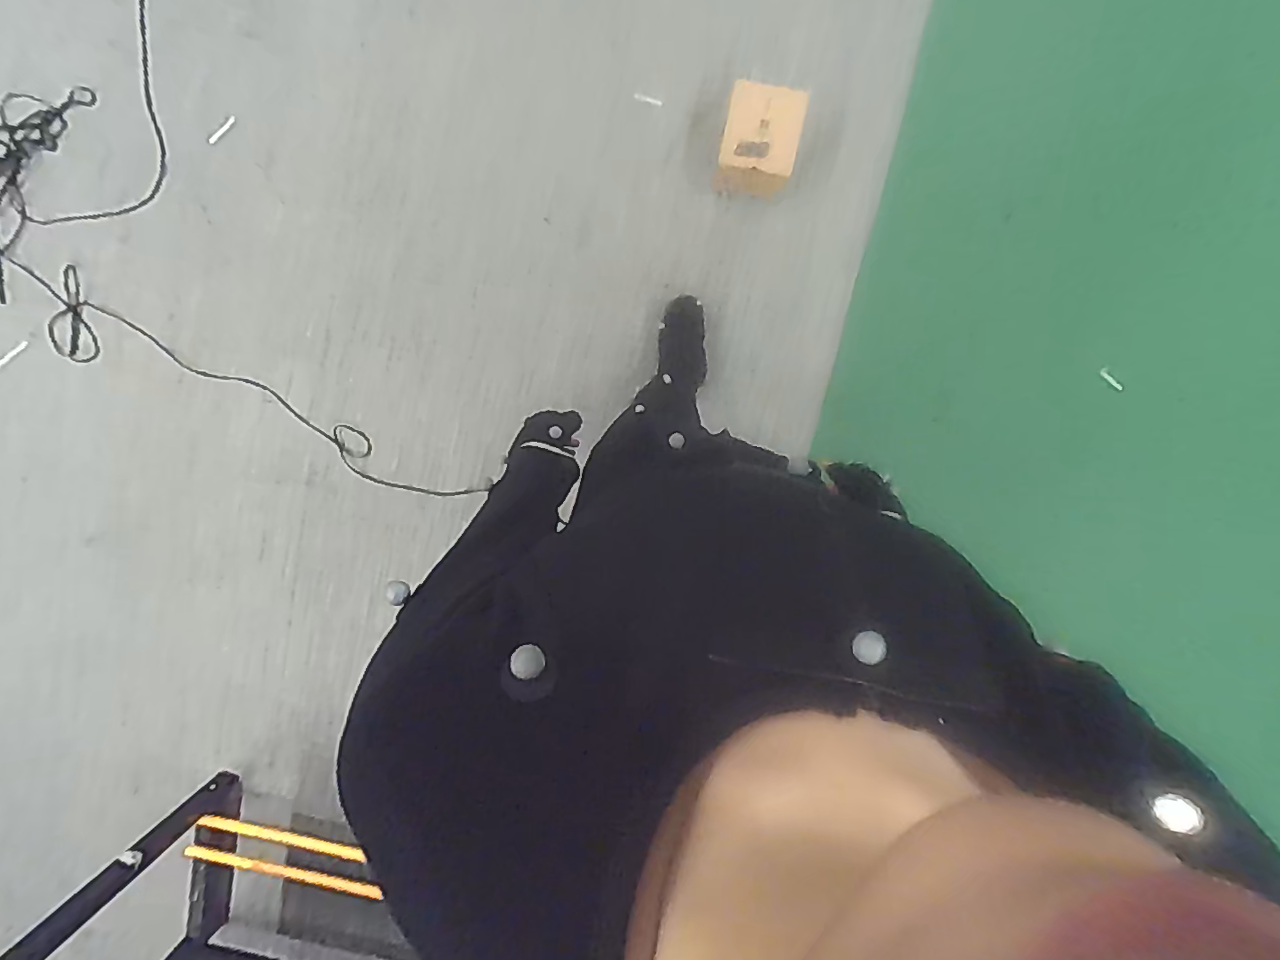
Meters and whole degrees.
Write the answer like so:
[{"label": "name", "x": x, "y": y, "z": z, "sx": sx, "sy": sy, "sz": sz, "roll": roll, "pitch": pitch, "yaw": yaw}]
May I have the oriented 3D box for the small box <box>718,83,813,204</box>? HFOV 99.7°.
[{"label": "small box", "x": 0.280, "y": -0.767, "z": 1.252, "sx": 0.168, "sy": 0.176, "sz": 0.179, "roll": 12, "pitch": 99, "yaw": 1}]
